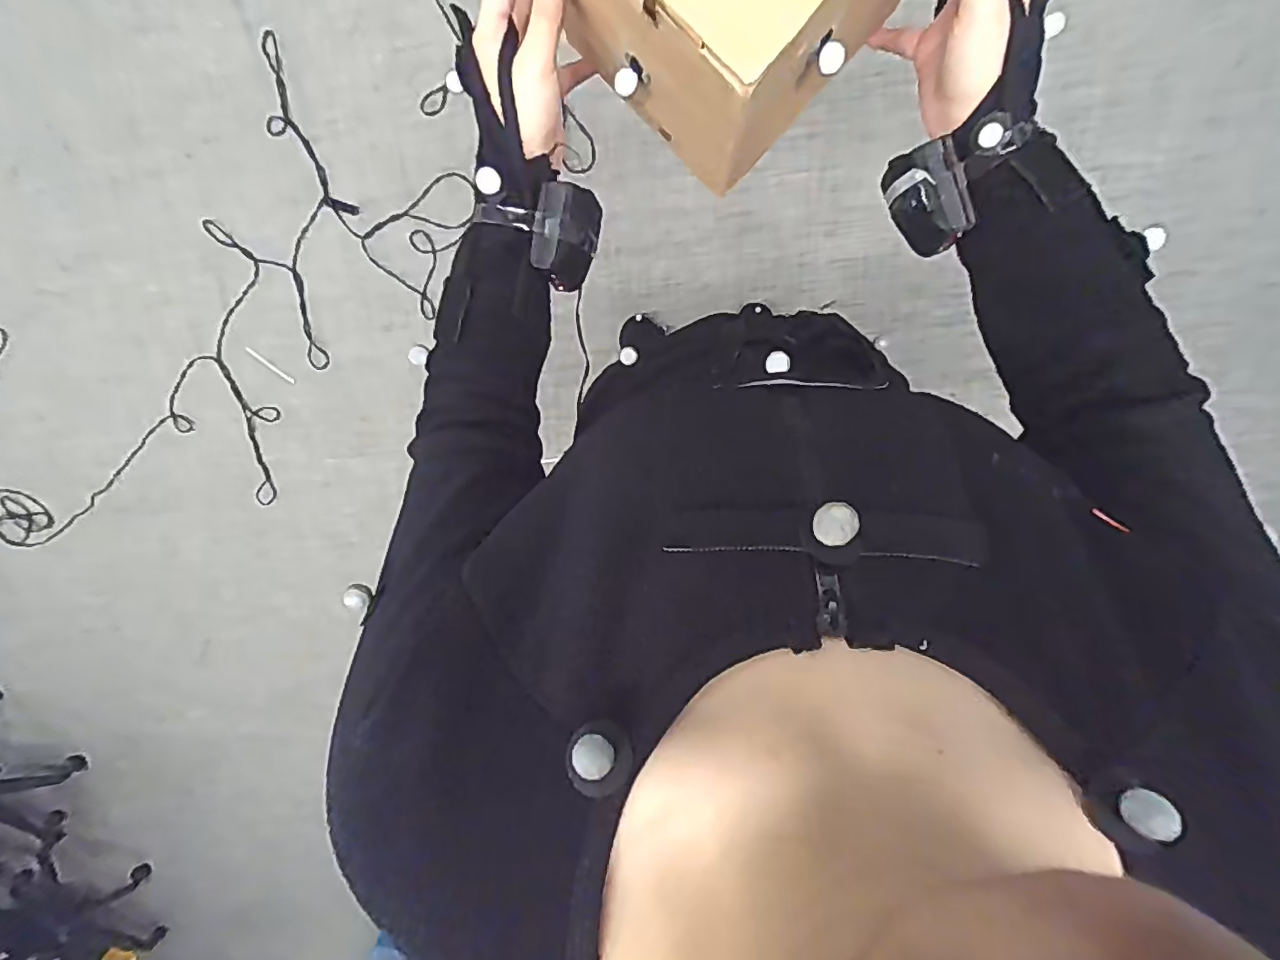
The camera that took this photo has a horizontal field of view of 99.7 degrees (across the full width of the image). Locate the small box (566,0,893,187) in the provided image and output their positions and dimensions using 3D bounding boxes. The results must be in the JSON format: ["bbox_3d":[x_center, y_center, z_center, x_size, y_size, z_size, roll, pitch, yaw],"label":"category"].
[{"bbox_3d":[0.058,-0.318,0.322,0.168,0.176,0.179,44,102,-5],"label":"small box"}]
